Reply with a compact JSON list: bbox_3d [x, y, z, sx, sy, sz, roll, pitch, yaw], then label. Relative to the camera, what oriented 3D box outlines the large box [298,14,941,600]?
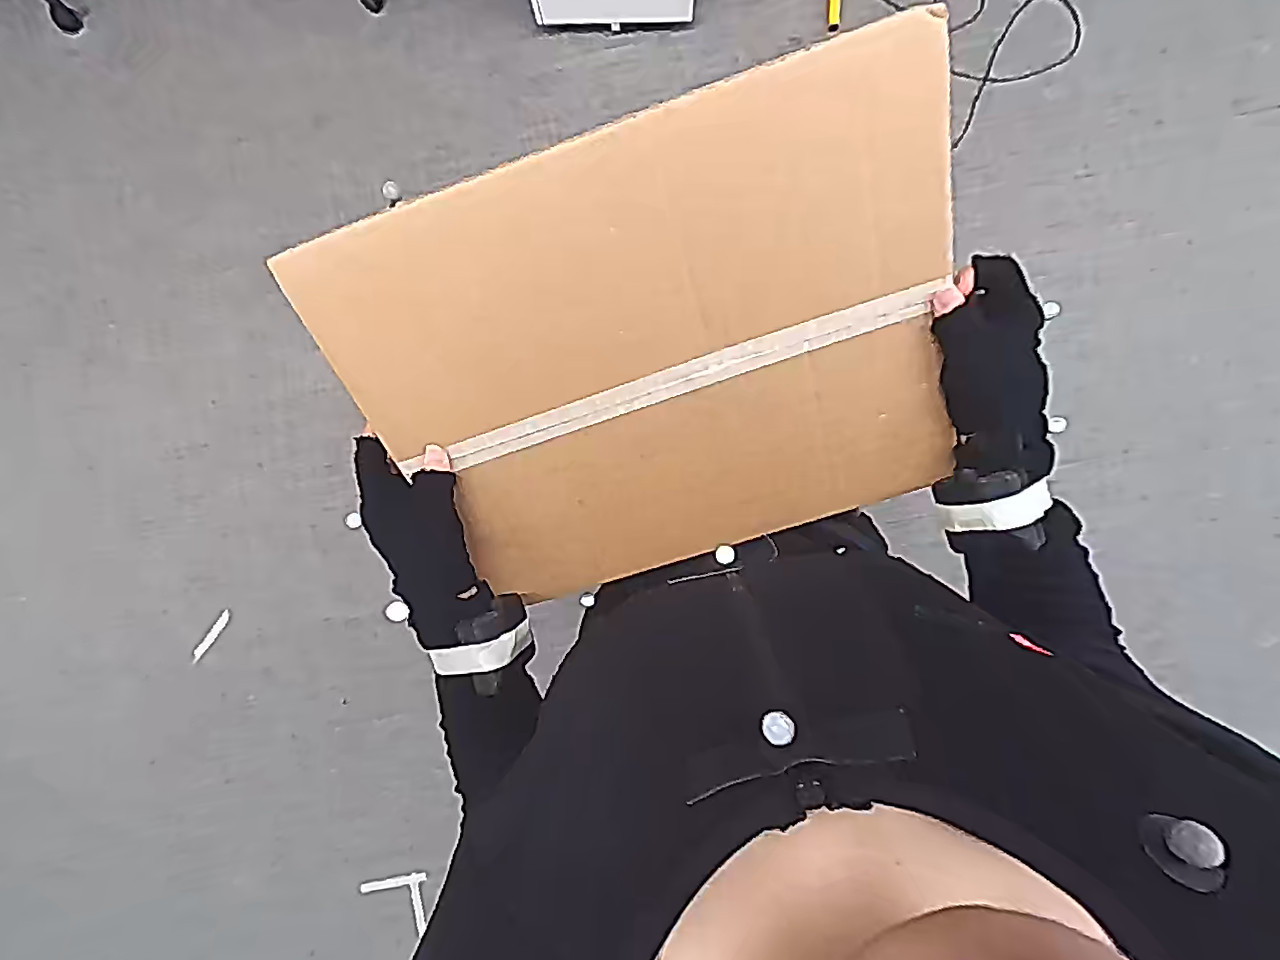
[{"bbox_3d":[0.003,-0.148,0.521,0.408,0.320,0.320,-18,122,6],"label":"large box"}]
